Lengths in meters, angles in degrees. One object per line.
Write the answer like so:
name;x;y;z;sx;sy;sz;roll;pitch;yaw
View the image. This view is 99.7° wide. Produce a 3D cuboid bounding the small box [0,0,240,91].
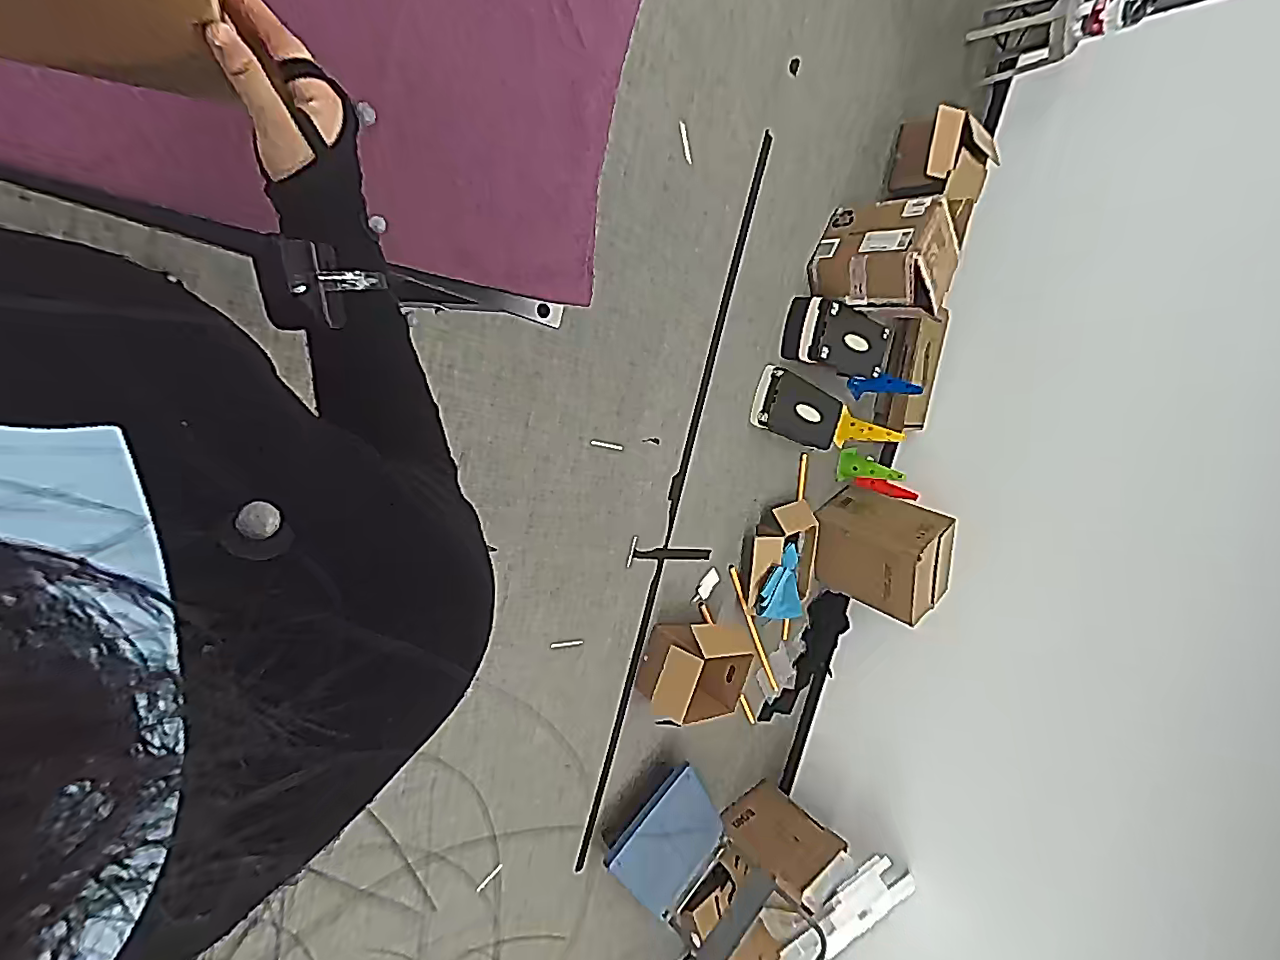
small box;-0.335;-0.349;0.291;0.179;0.176;0.168;-6;101;-29
